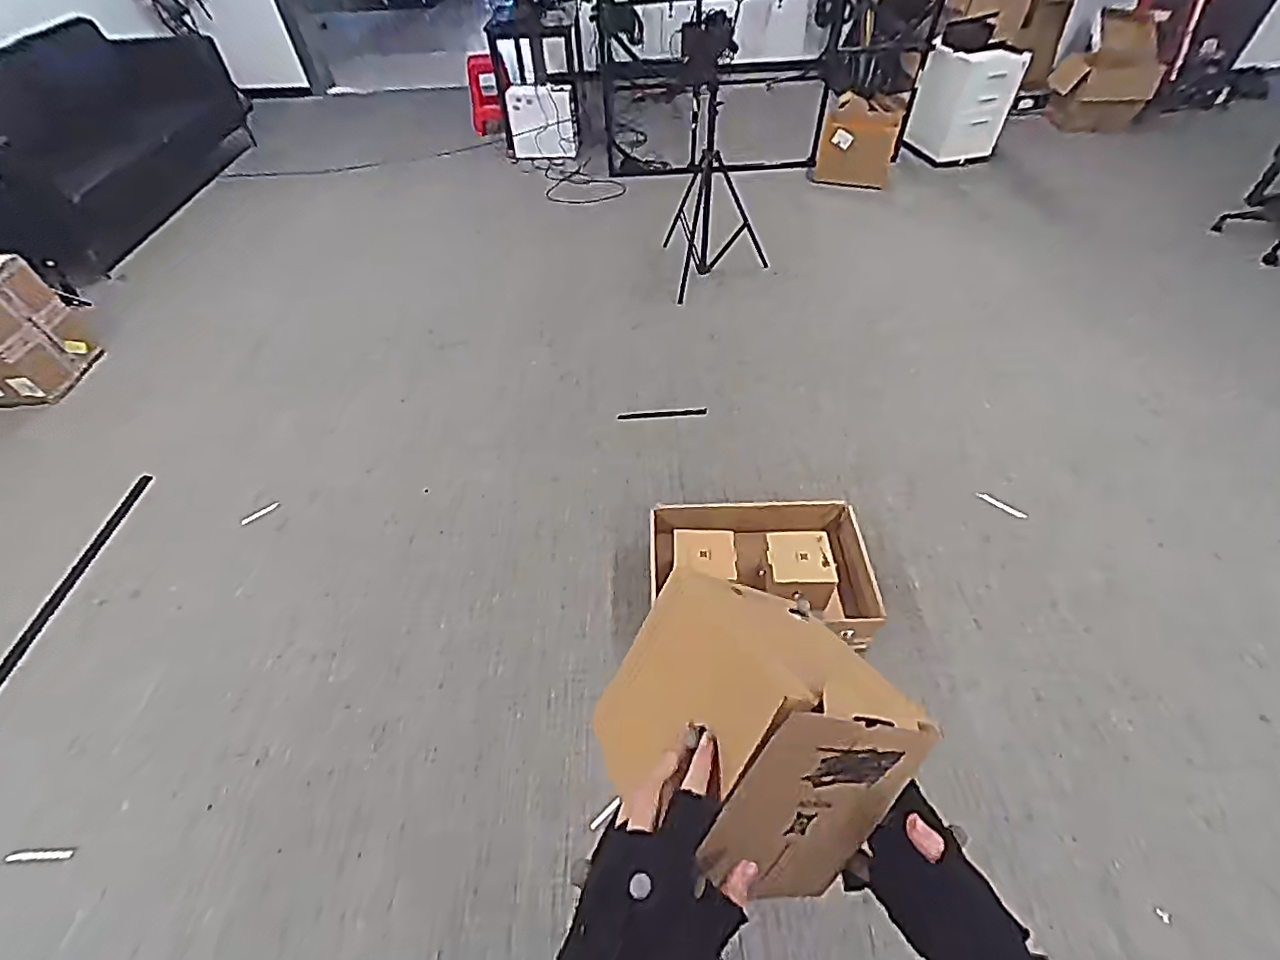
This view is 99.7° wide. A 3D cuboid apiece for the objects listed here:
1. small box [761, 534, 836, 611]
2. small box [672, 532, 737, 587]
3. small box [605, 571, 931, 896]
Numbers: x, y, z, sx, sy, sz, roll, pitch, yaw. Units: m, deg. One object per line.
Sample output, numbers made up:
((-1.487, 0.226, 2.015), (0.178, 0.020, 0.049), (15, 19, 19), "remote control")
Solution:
((0.451, 0.273, 1.573), (0.179, 0.176, 0.168), (-2, 50, 3), "small box")
((0.183, 0.270, 1.587), (0.179, 0.176, 0.168), (1, 49, 3), "small box")
((0.091, 0.202, 0.457), (0.168, 0.179, 0.176), (22, 11, -28), "small box")
